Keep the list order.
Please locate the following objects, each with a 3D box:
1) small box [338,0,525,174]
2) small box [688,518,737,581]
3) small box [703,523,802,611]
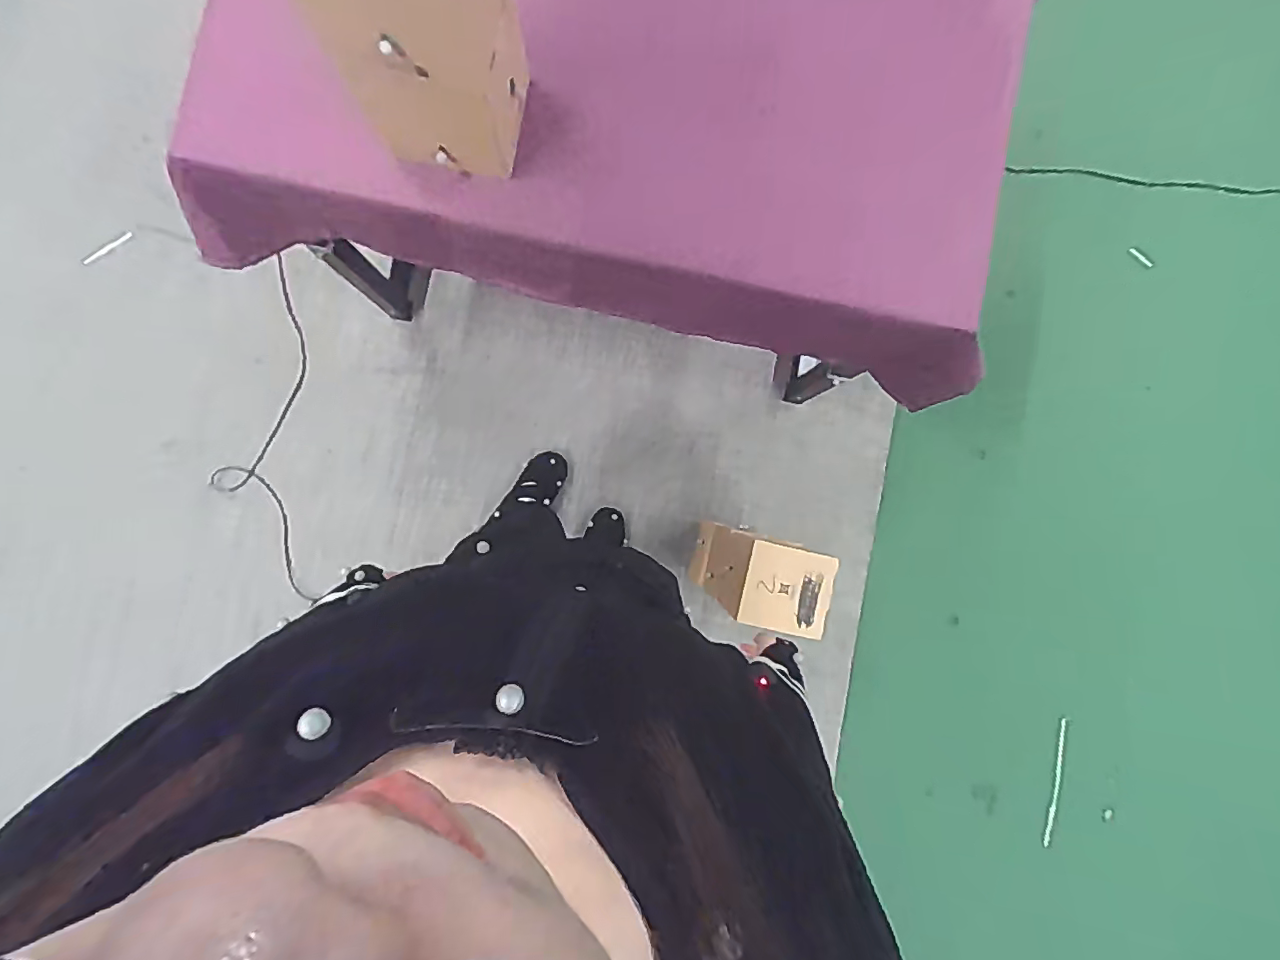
[{"bbox_3d":[-0.256,-0.537,0.709,0.179,0.176,0.168,10,87,-5],"label":"small box"},{"bbox_3d":[0.239,0.201,1.456,0.179,0.176,0.168,15,87,-4],"label":"small box"},{"bbox_3d":[0.259,0.200,1.295,0.179,0.176,0.168,13,89,-5],"label":"small box"}]
